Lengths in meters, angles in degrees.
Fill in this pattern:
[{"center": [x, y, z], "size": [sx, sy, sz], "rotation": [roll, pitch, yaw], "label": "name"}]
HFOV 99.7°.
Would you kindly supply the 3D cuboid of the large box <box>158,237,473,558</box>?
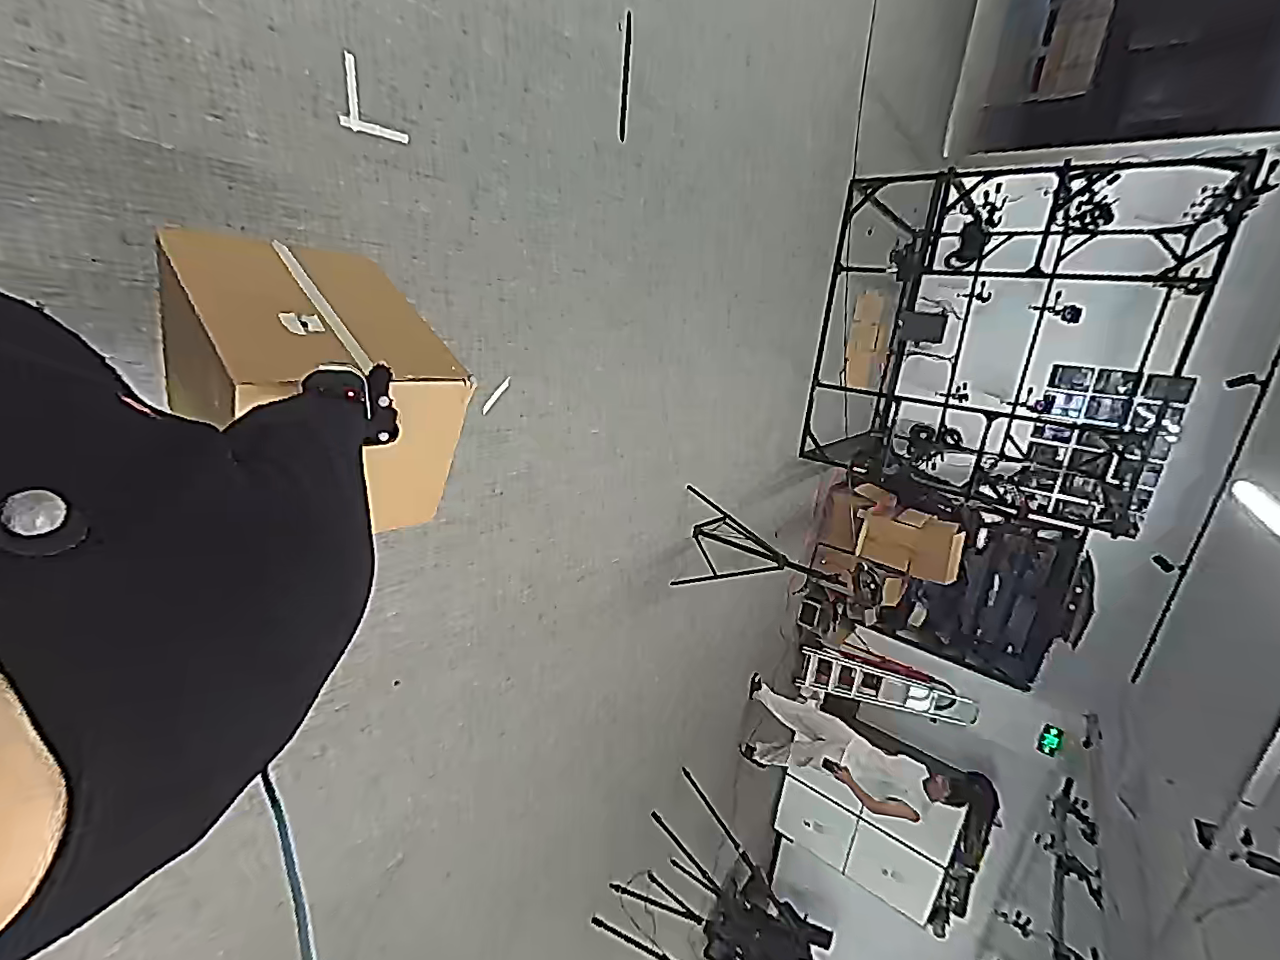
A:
[{"center": [-0.554, -0.143, 0.909], "size": [0.320, 0.408, 0.320], "rotation": [-14, 142, -47], "label": "large box"}]
